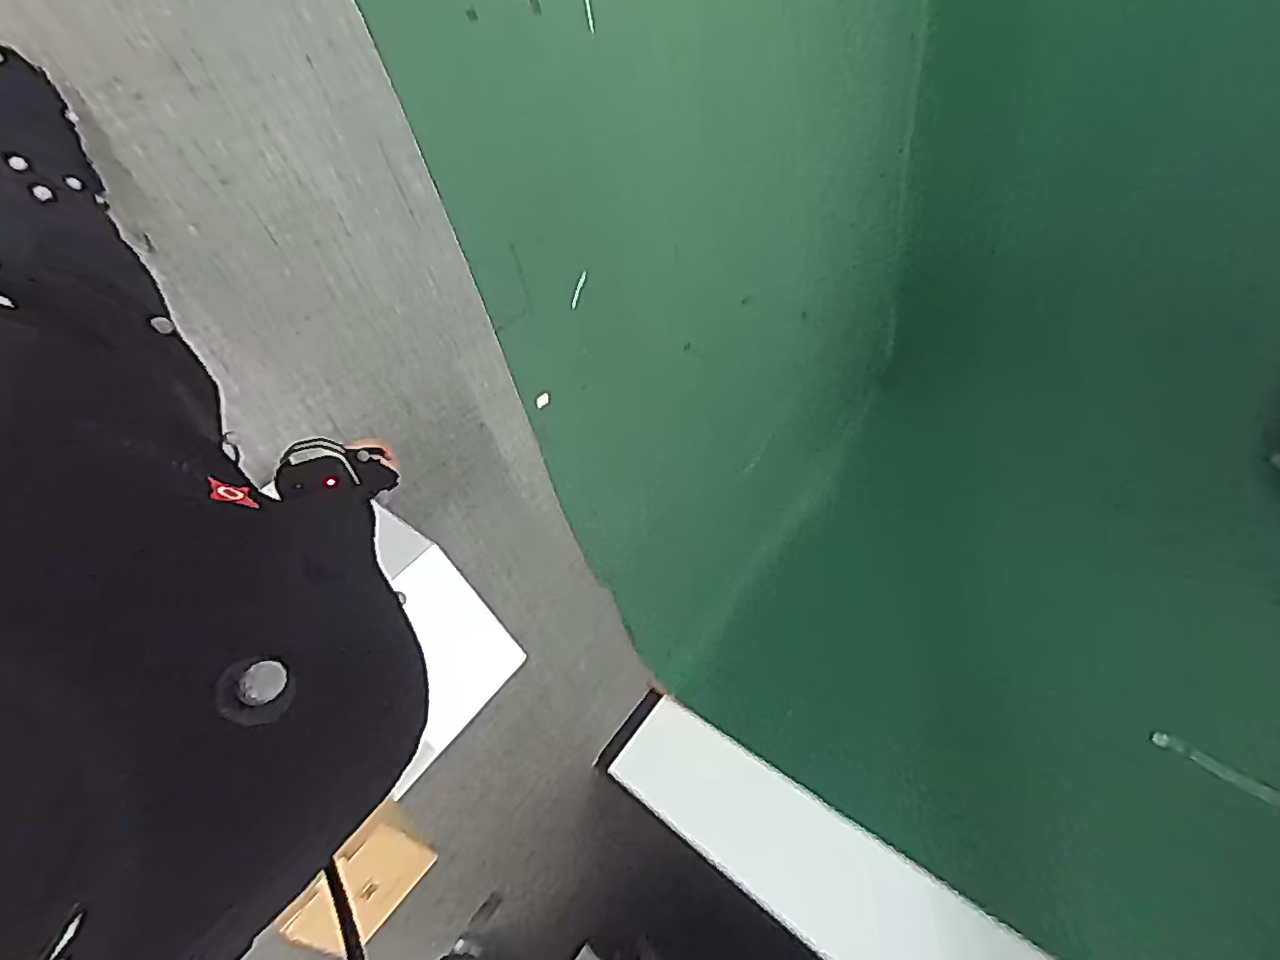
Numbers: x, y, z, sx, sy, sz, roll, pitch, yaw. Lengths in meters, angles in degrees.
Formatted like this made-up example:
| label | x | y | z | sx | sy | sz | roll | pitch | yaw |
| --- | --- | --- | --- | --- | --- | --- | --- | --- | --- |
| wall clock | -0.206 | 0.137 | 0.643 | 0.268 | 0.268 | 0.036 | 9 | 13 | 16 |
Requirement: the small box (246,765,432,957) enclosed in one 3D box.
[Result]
| label | x | y | z | sx | sy | sz | roll | pitch | yaw |
| --- | --- | --- | --- | --- | --- | --- | --- | --- | --- |
| small box | -0.476 | 0.593 | 0.859 | 0.168 | 0.176 | 0.179 | -44 | 137 | -29 |
